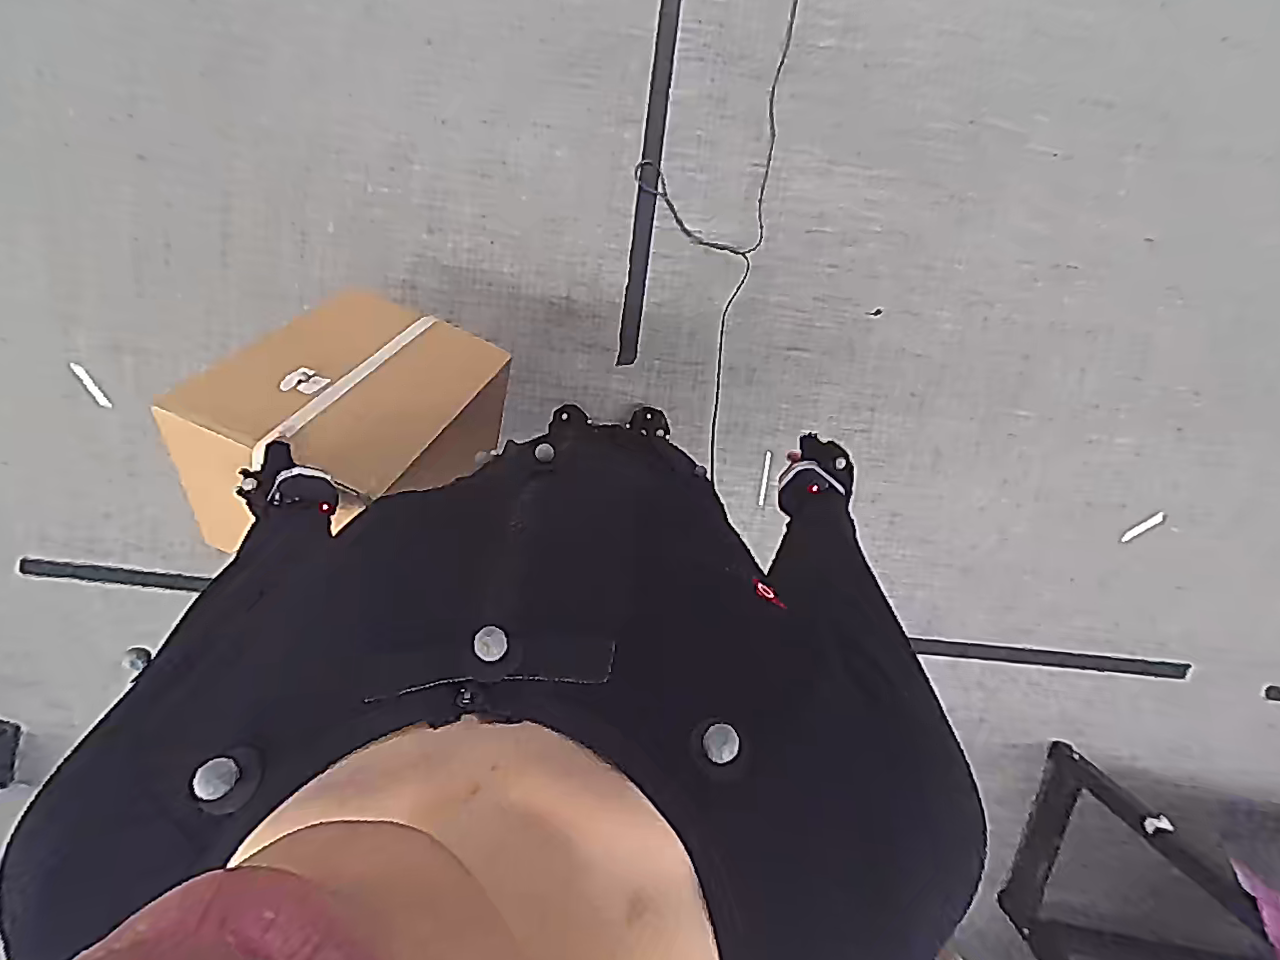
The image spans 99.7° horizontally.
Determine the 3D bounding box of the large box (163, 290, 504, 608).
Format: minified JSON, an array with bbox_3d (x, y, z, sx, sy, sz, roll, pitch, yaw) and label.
[{"bbox_3d":[-0.482,-0.062,0.951,0.320,0.408,0.320,24,134,-1],"label":"large box"}]
